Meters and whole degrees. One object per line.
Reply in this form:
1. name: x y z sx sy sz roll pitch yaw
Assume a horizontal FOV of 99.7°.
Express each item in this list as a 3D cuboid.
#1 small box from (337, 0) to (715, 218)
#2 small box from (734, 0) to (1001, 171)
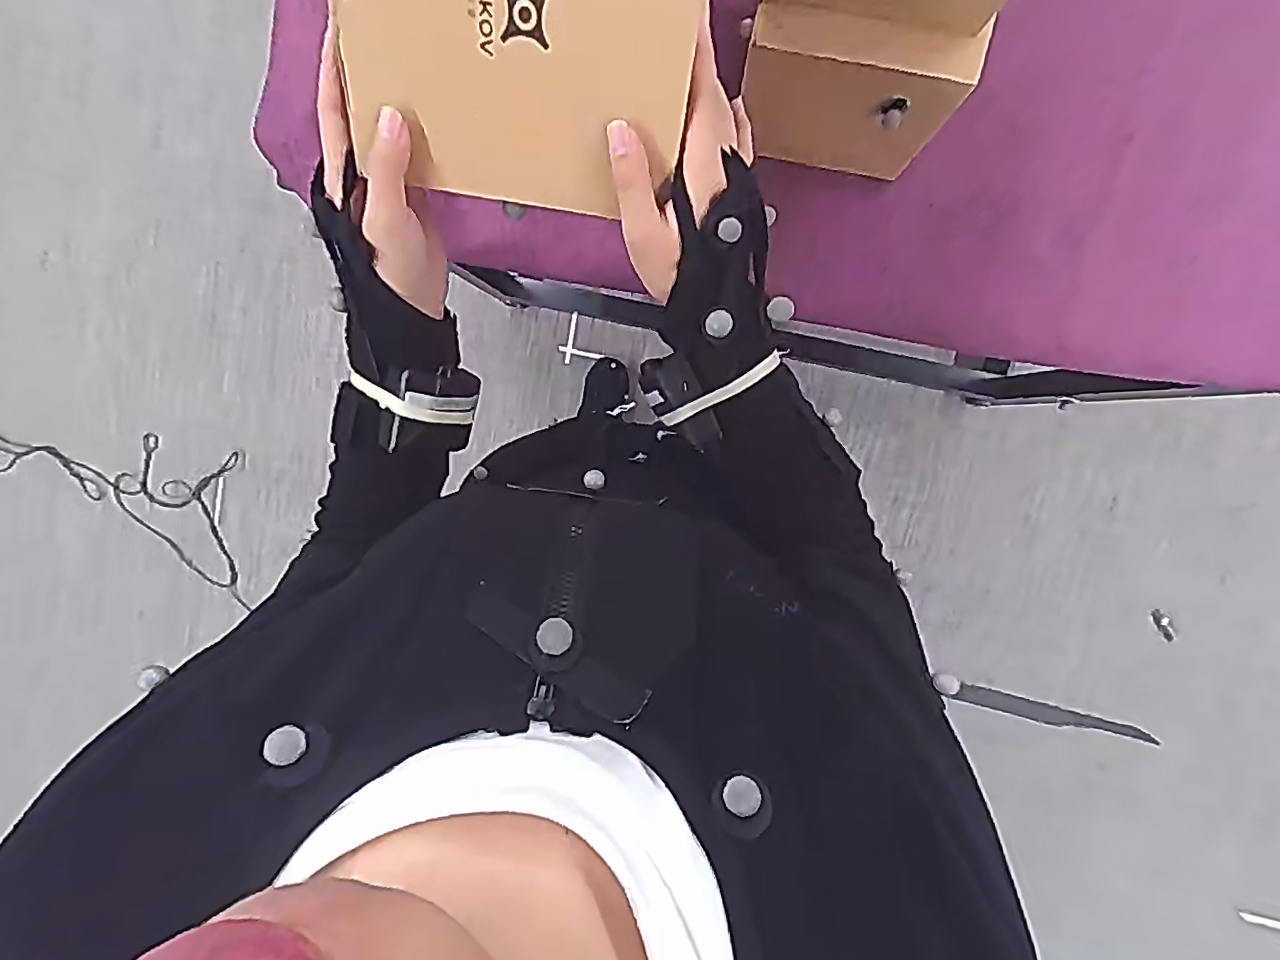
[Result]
1. small box: -0.052 -0.269 0.314 0.179 0.176 0.168 7 126 -4
2. small box: 0.193 -0.403 0.478 0.179 0.176 0.168 13 96 3
